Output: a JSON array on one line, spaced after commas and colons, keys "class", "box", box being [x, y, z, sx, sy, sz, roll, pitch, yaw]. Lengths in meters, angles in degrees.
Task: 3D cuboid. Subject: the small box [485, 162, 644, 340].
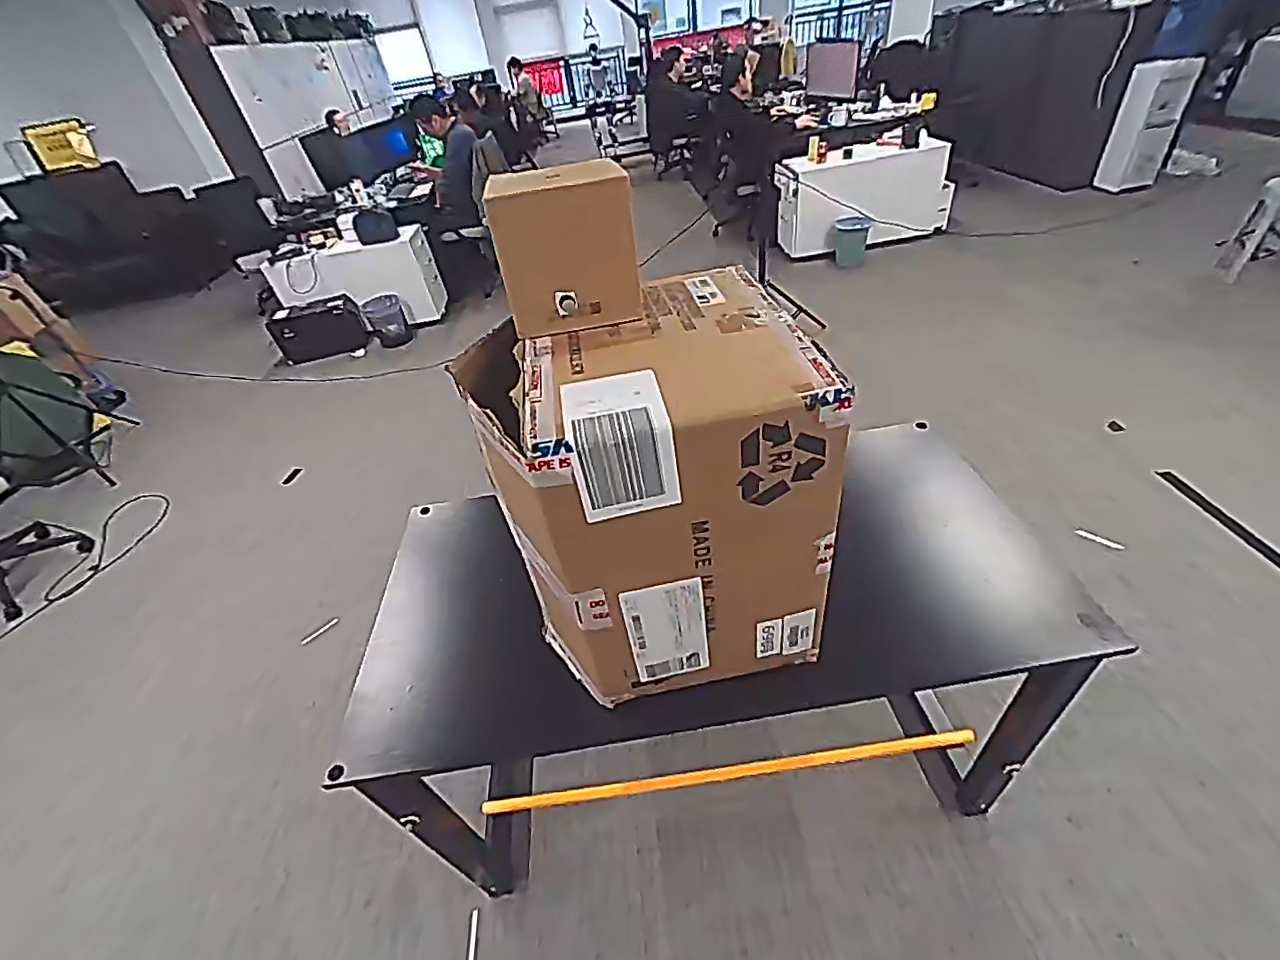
[{"class": "small box", "box": [-0.096, -0.303, 0.711, 0.168, 0.176, 0.179, -12, 38, -4]}]
